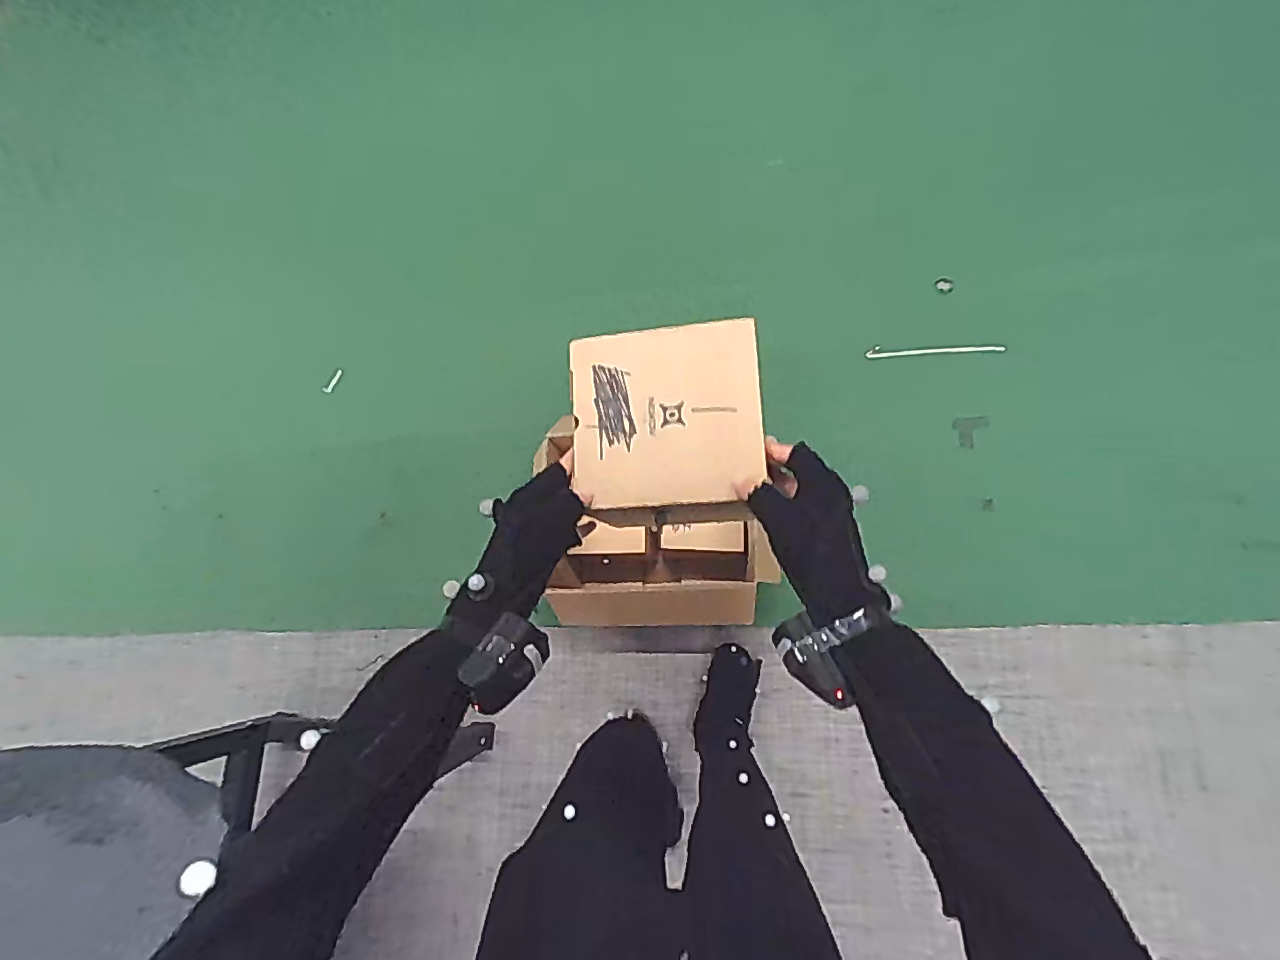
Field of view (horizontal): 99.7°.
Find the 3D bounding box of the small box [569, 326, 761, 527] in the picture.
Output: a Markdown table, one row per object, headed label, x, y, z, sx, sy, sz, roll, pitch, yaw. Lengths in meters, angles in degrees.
| label | x | y | z | sx | sy | sz | roll | pitch | yaw |
| --- | --- | --- | --- | --- | --- | --- | --- | --- | --- |
| small box | 0.034 | -0.042 | 0.571 | 0.179 | 0.176 | 0.168 | -4 | 79 | 10 |
